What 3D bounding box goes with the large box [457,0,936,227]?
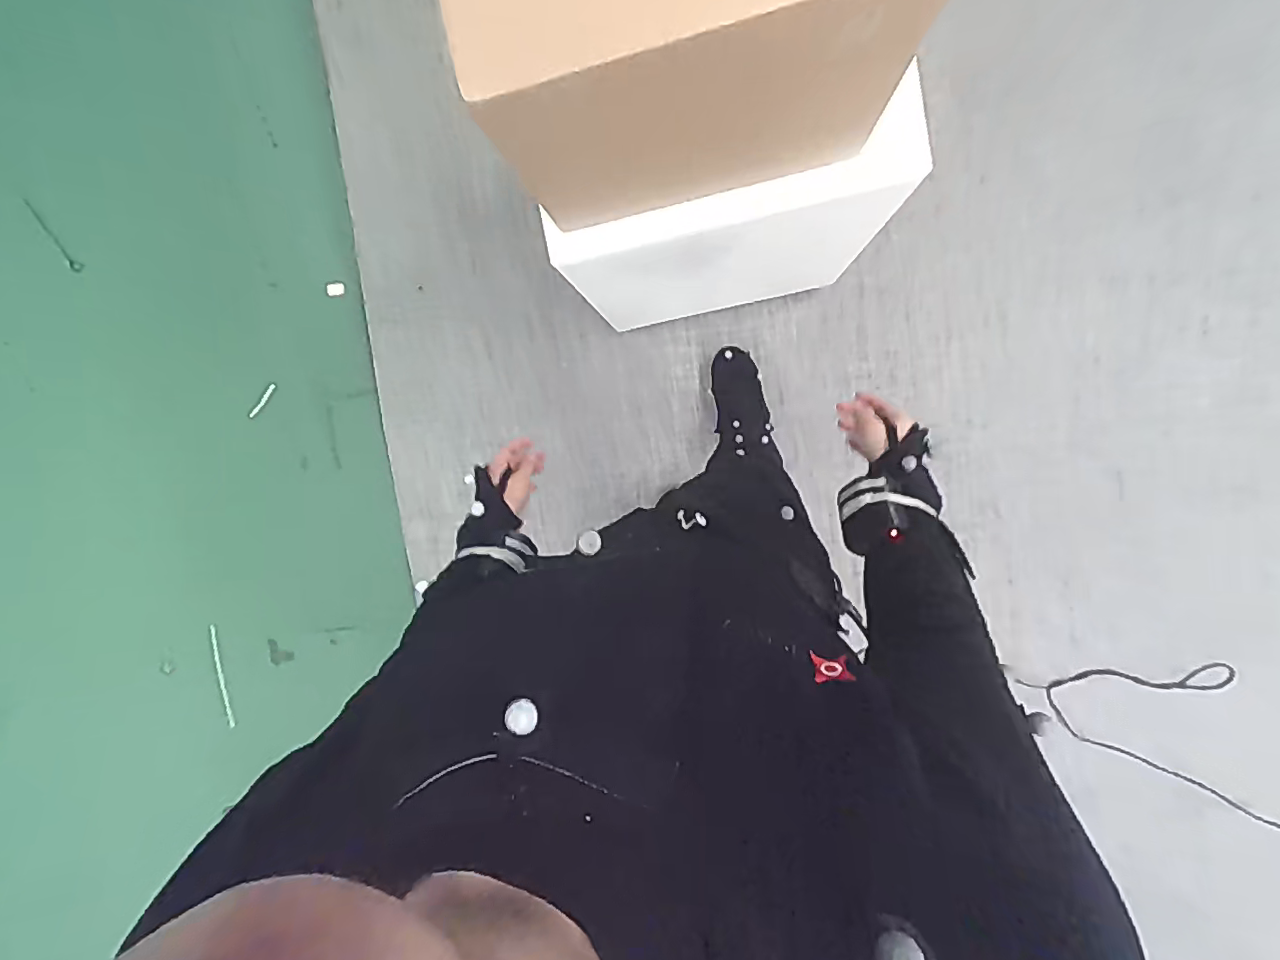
[{"bbox_3d":[0.039,-0.518,0.562,0.408,0.320,0.320,-12,95,7],"label":"large box"}]
